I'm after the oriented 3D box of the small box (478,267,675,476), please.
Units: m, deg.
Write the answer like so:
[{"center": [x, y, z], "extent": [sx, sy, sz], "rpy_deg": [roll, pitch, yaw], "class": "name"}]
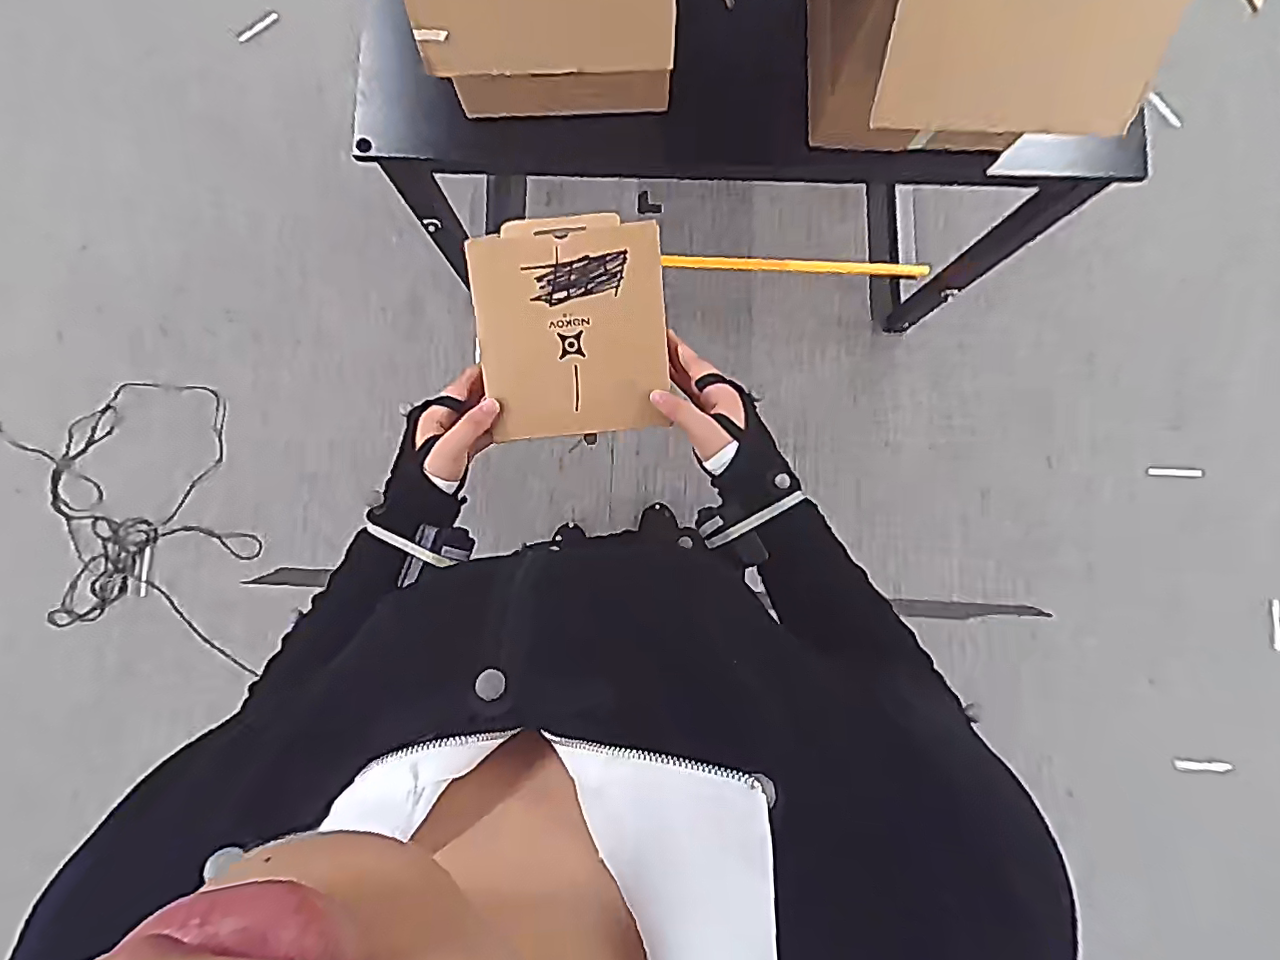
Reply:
[{"center": [-0.056, -0.106, 0.563], "extent": [0.168, 0.176, 0.179], "rpy_deg": [-5, 99, 1], "class": "small box"}]
